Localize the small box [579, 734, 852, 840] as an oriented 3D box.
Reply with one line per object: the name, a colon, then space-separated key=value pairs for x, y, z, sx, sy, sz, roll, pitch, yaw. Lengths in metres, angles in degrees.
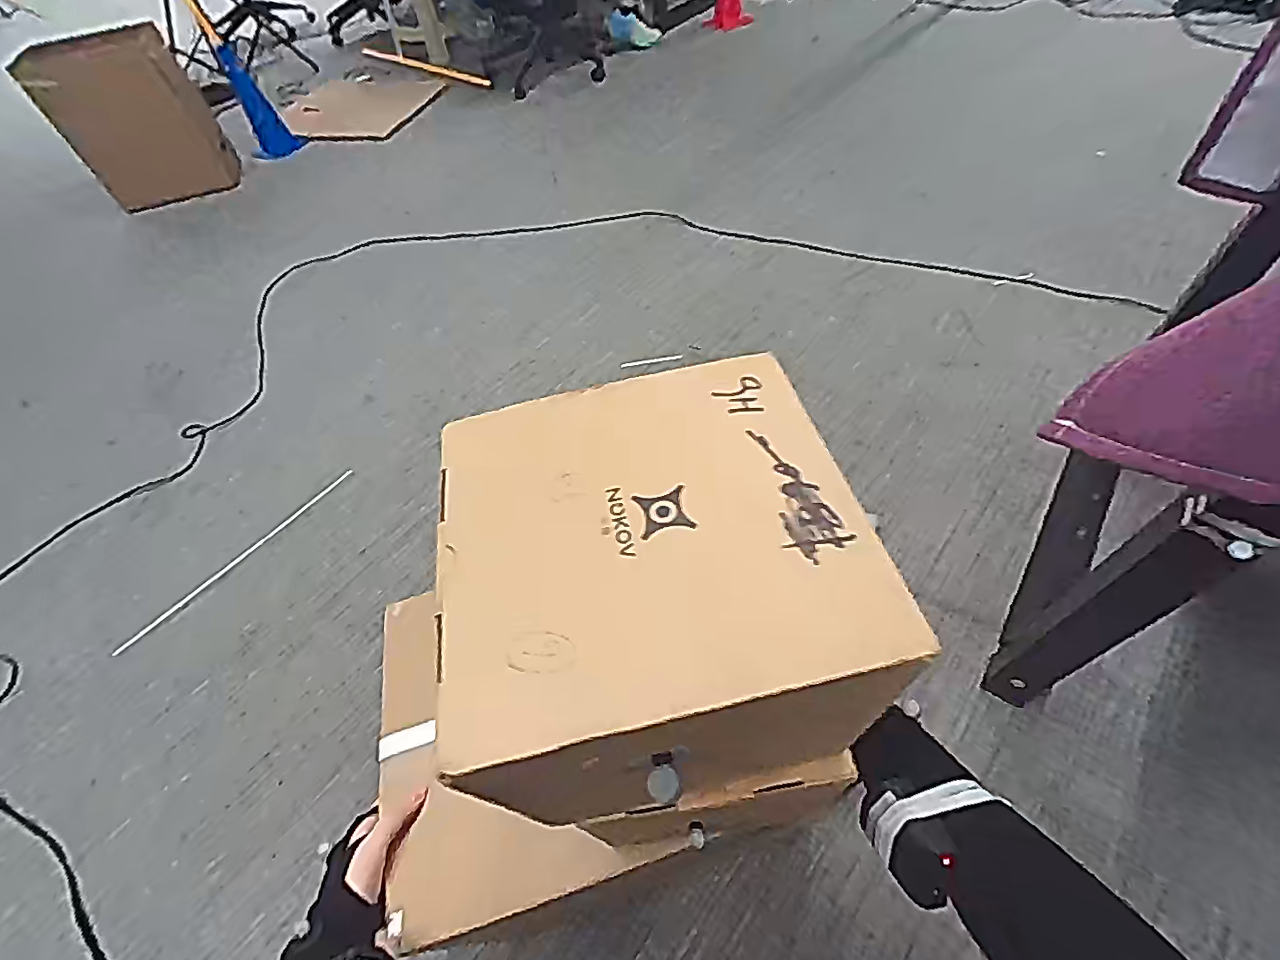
small box: x=0.038 y=0.162 z=0.422 sx=0.168 sy=0.176 sz=0.179 roll=-10 pitch=54 yaw=0

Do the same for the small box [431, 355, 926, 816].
small box: x=0.009 y=0.066 z=0.291 sx=0.179 sy=0.176 sz=0.168 roll=-13 pitch=54 yaw=-2
